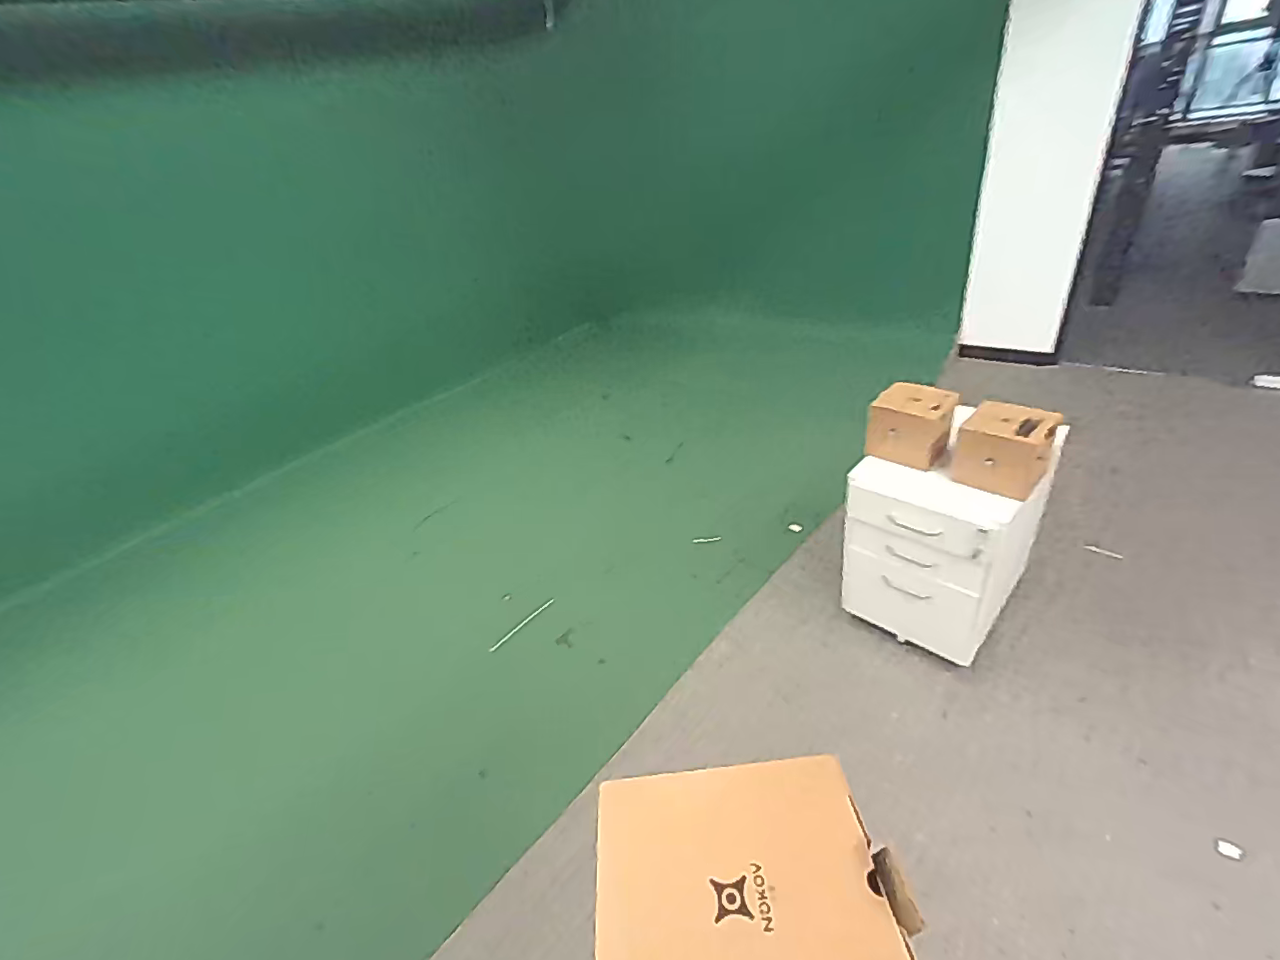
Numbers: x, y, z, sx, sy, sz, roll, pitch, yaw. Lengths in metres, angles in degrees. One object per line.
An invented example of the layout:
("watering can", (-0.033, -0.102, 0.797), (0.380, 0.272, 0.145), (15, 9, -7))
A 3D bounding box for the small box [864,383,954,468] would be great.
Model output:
("small box", (0.753, -0.154, 1.528), (0.179, 0.176, 0.168), (24, 48, 40))

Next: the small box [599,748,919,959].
("small box", (0.072, 0.316, 0.366), (0.179, 0.176, 0.168), (-7, 30, 2))
